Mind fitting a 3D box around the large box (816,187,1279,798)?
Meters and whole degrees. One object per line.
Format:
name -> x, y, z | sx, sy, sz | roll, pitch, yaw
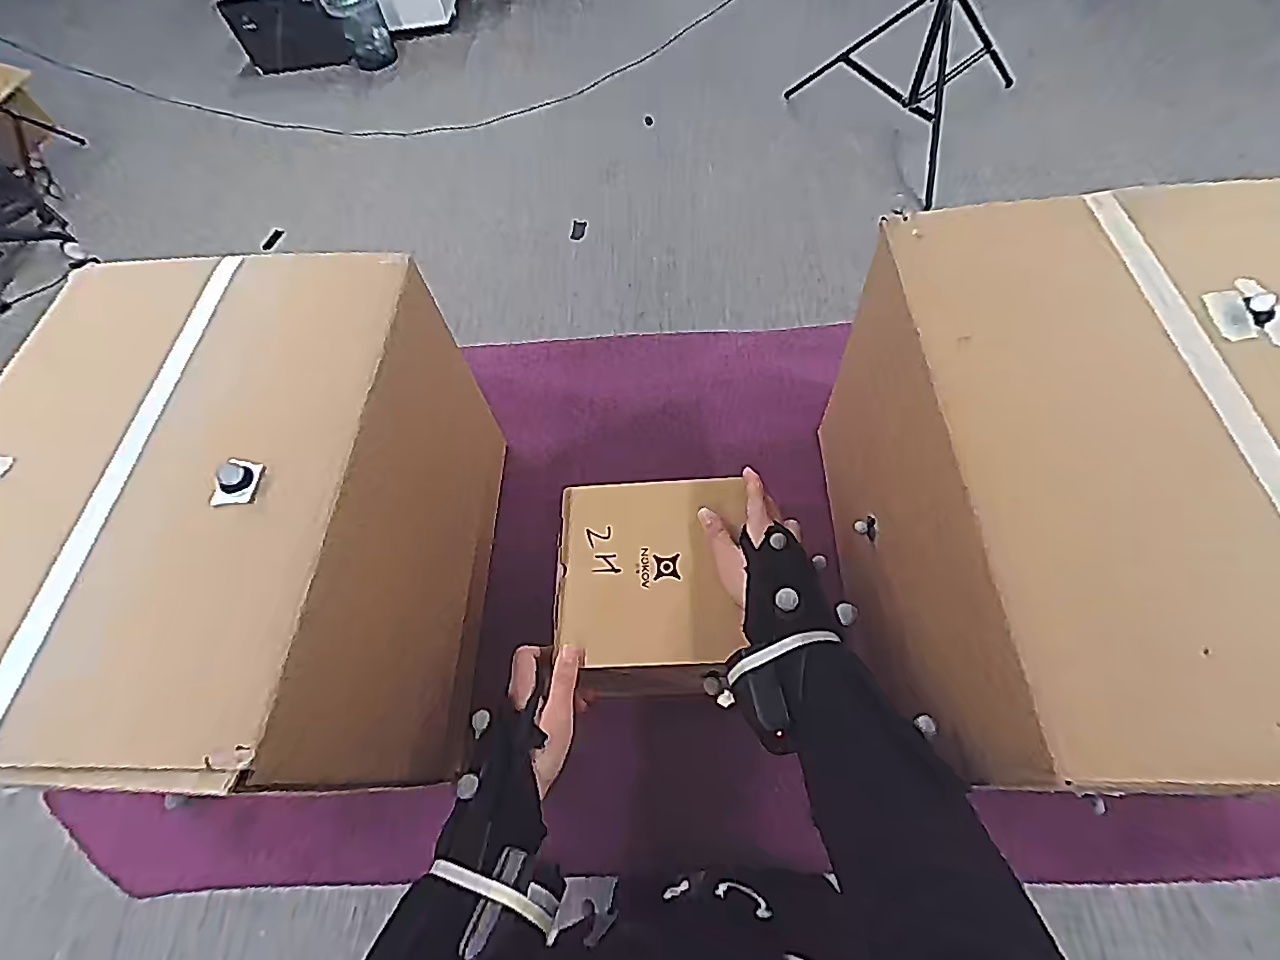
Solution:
large box -> 0.357, 0.031, 0.453 | 0.320, 0.320, 0.408 | -2, 60, 5
